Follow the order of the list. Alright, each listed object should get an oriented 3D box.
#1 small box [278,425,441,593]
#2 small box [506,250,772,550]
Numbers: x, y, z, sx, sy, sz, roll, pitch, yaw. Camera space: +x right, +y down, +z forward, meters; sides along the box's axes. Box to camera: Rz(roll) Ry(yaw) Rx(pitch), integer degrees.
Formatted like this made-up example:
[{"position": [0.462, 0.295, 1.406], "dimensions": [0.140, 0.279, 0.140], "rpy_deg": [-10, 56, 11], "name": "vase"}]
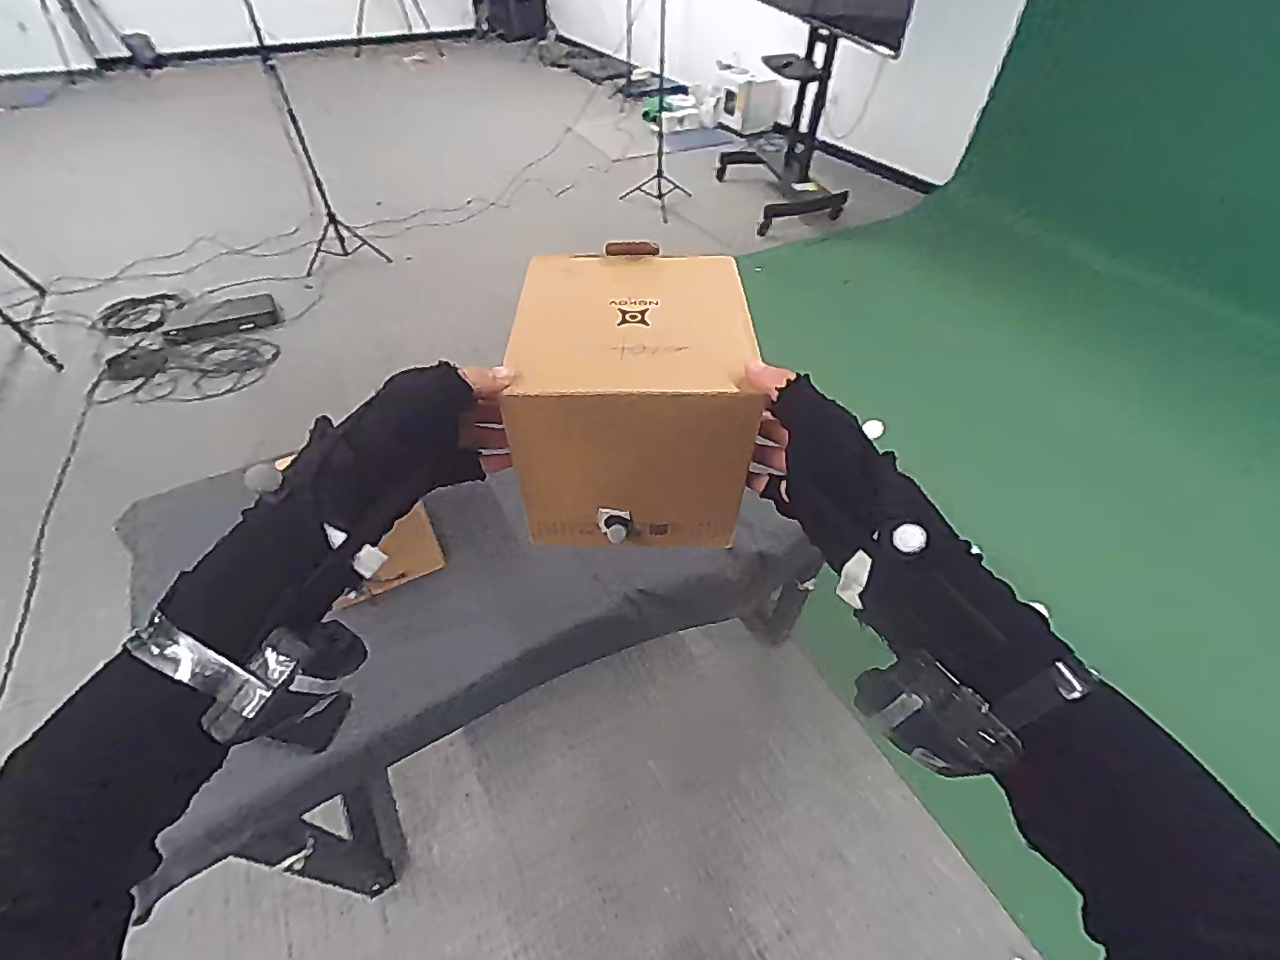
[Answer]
[{"position": [-0.424, 0.050, 0.832], "dimensions": [0.168, 0.176, 0.179], "rpy_deg": [-21, 50, -20], "name": "small box"}, {"position": [-0.001, -0.064, 0.441], "dimensions": [0.168, 0.176, 0.179], "rpy_deg": [2, 49, 0], "name": "small box"}]
